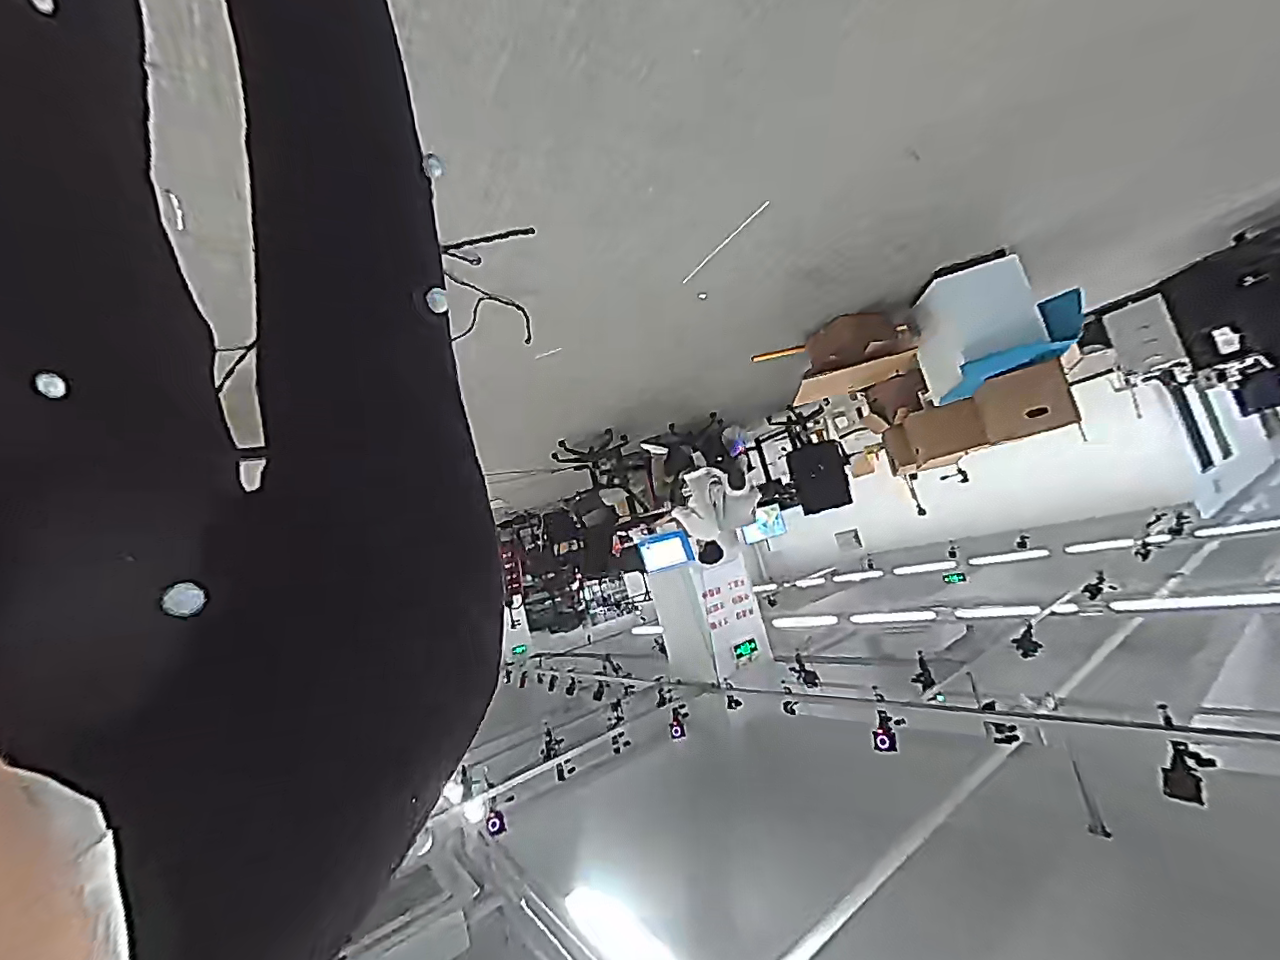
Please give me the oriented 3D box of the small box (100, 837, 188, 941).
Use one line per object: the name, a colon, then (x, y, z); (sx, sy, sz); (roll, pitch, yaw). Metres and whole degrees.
small box: (-1.484, 1.214, 1.625); (0.168, 0.176, 0.179); (-11, 172, -35)
